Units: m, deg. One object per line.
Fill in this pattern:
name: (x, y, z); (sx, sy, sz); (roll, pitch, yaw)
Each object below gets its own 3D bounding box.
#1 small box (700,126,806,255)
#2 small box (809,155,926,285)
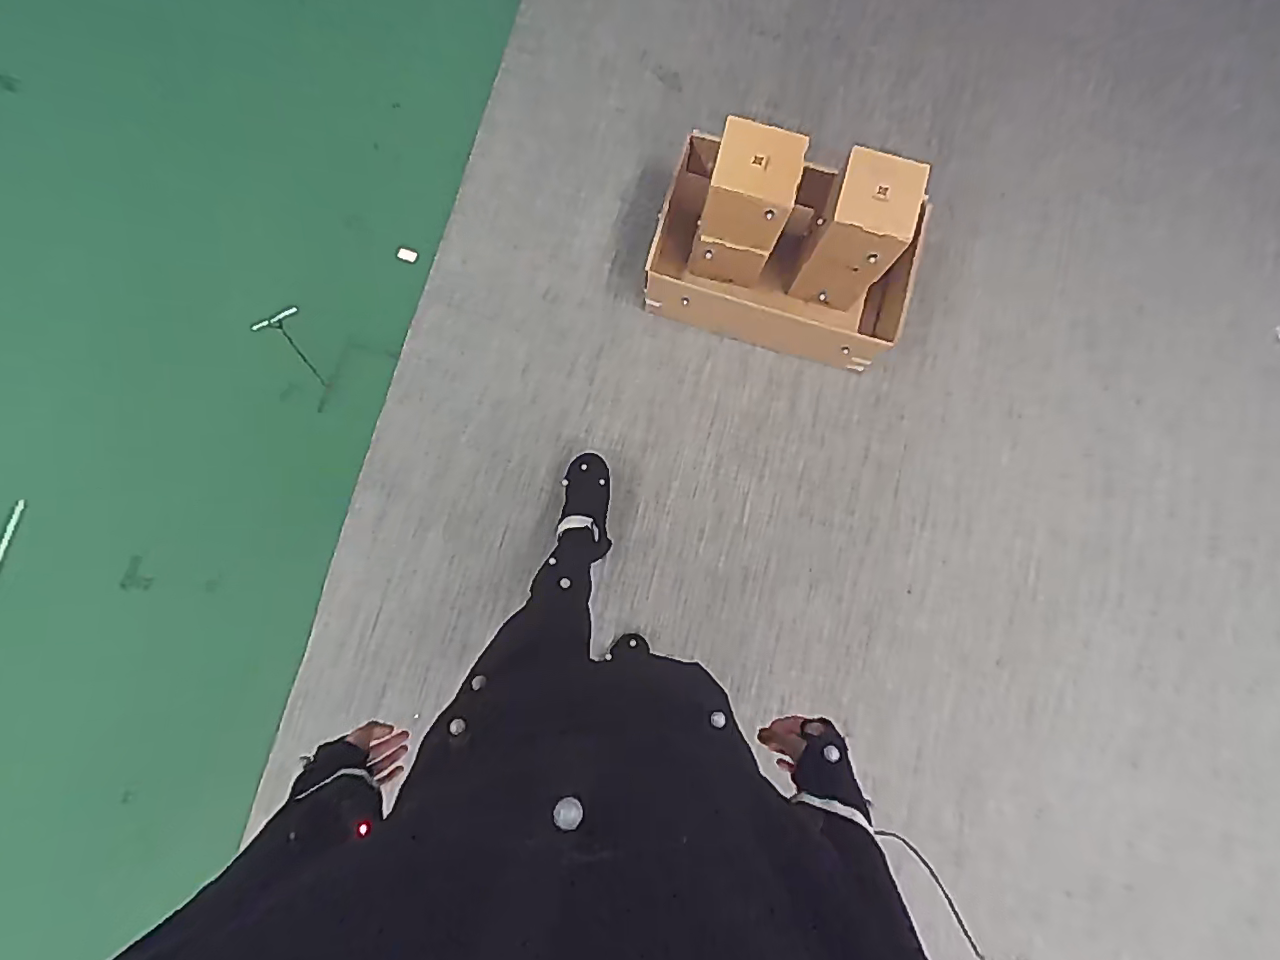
small box: (0.239, -0.623, 1.187); (0.179, 0.176, 0.168); (15, 82, 0)
small box: (0.486, -0.557, 1.182); (0.168, 0.176, 0.179); (17, 82, 1)
